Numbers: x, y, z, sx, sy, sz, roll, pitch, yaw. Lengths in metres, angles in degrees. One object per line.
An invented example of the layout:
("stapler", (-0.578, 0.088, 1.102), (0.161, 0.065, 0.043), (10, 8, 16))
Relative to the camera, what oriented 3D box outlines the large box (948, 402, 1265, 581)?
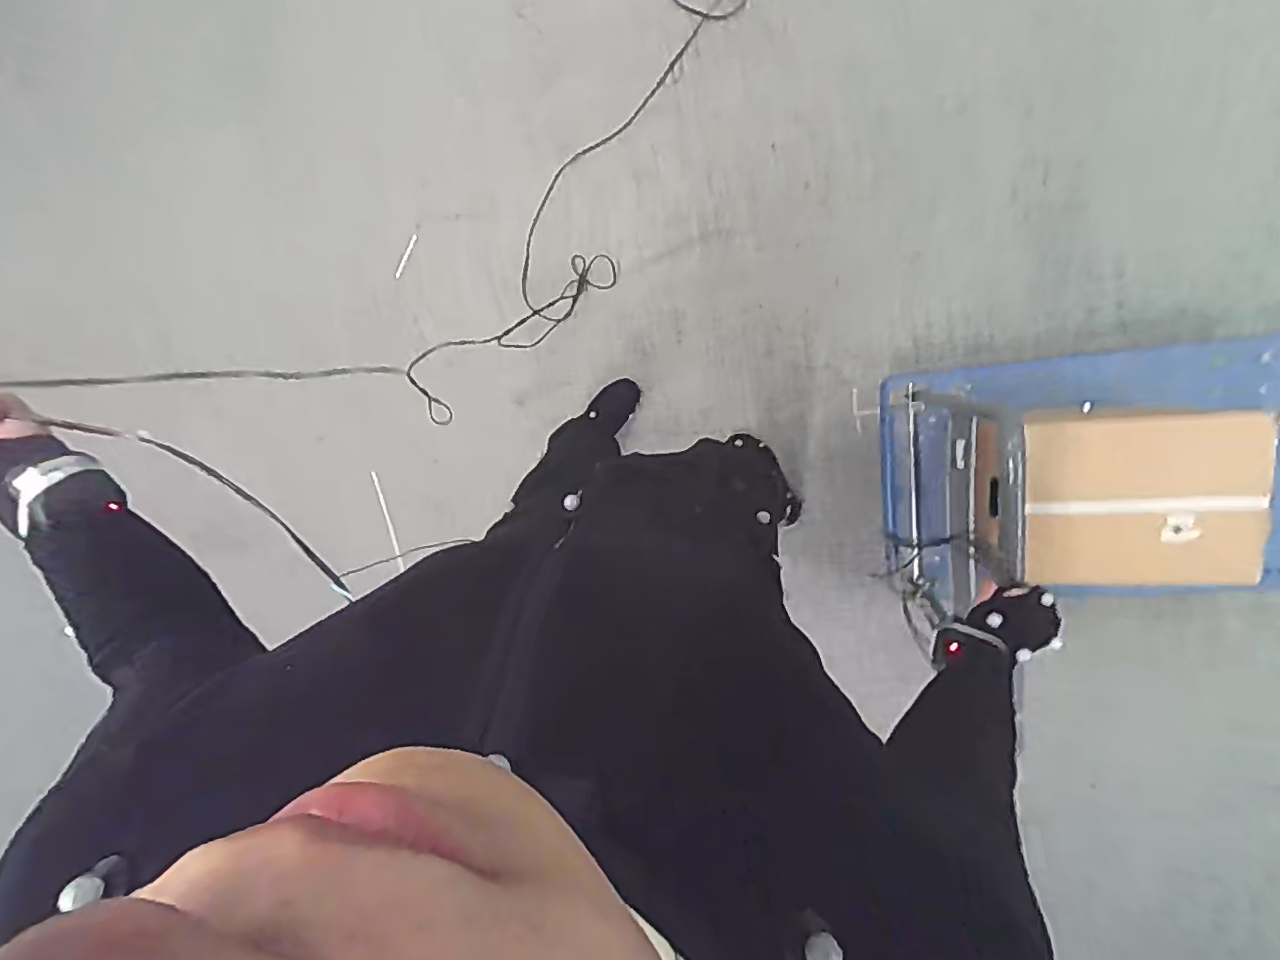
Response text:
("large box", (0.916, 0.008, 1.133), (0.408, 0.320, 0.320), (-2, 101, 10))
